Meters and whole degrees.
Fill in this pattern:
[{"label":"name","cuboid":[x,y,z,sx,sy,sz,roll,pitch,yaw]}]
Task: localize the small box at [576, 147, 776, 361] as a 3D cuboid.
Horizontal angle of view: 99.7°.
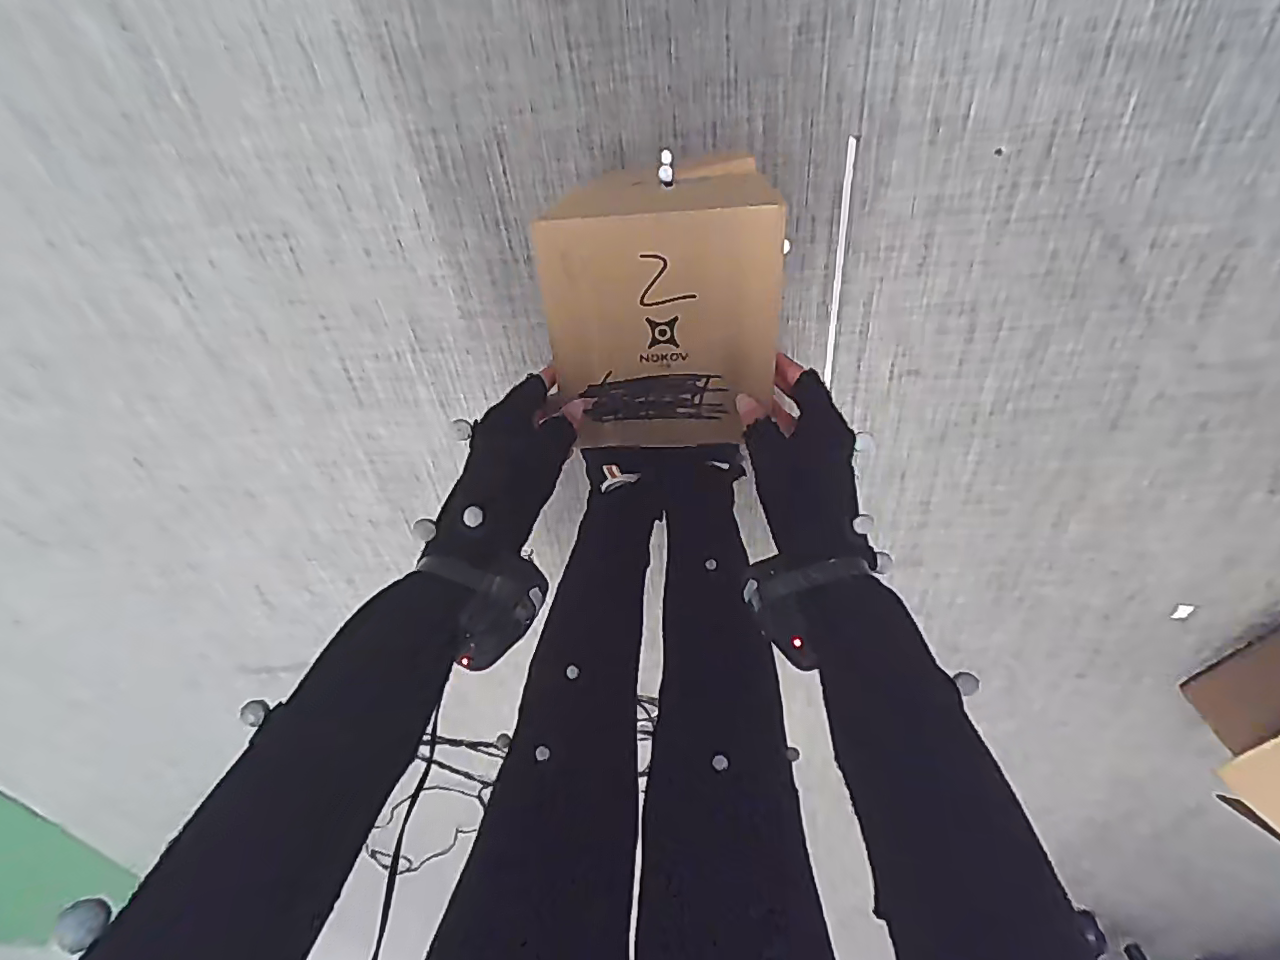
[{"label":"small box","cuboid":[0.045,-0.248,0.586,0.179,0.176,0.168,-6,124,10]}]
